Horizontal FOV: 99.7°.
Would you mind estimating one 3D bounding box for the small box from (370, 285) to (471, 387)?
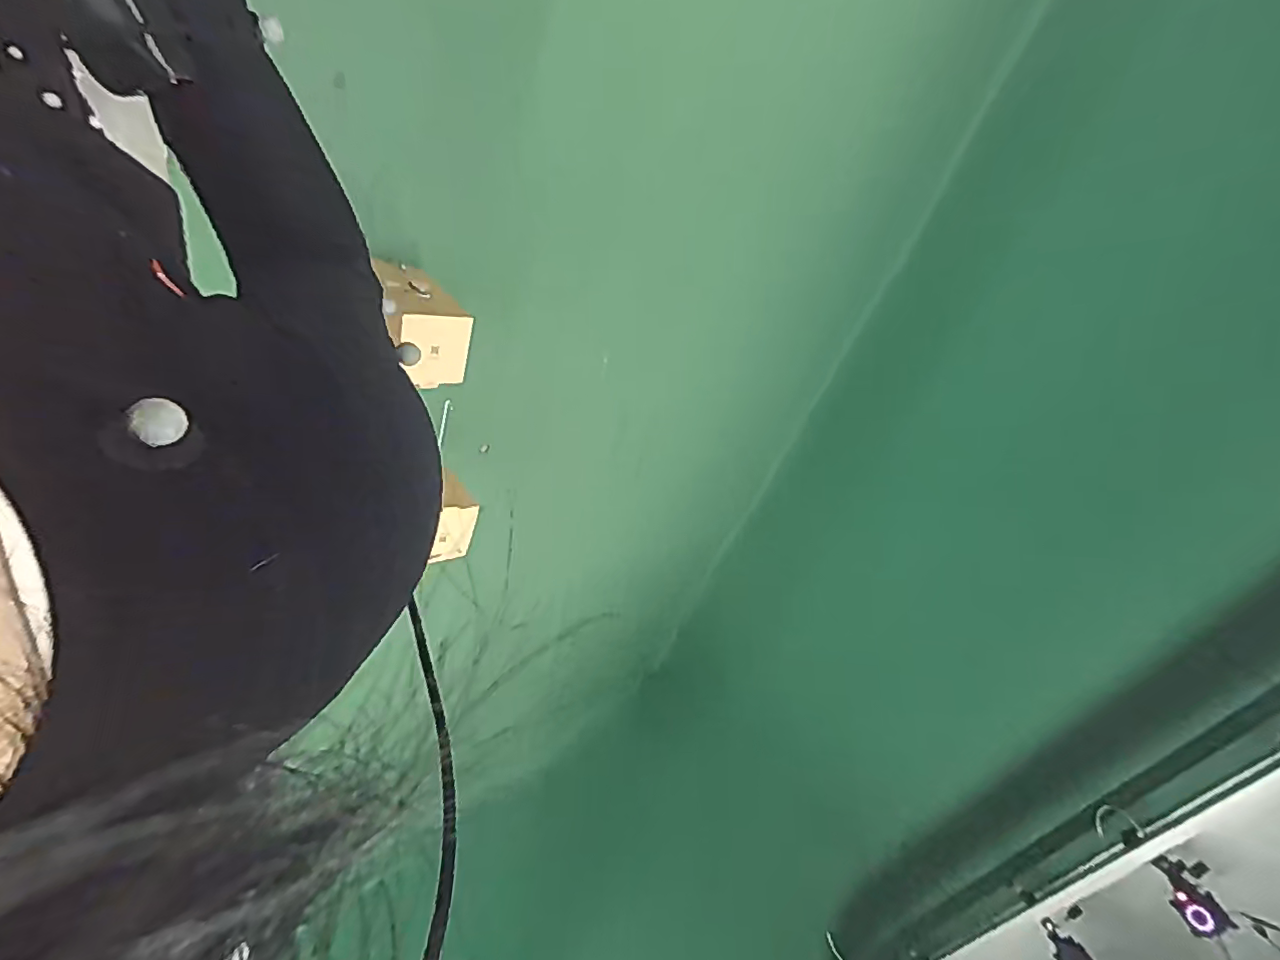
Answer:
[{"bbox_3d":[-0.524,-0.338,1.278,0.168,0.176,0.179,-13,134,-43],"label":"small box"}]

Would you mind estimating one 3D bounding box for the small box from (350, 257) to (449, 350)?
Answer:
[{"bbox_3d":[-0.616,-0.434,1.372,0.168,0.176,0.179,-4,129,-48],"label":"small box"}]

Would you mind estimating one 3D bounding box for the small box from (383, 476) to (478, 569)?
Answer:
[{"bbox_3d":[-0.554,0.101,1.422,0.168,0.176,0.179,-8,131,-46],"label":"small box"}]
